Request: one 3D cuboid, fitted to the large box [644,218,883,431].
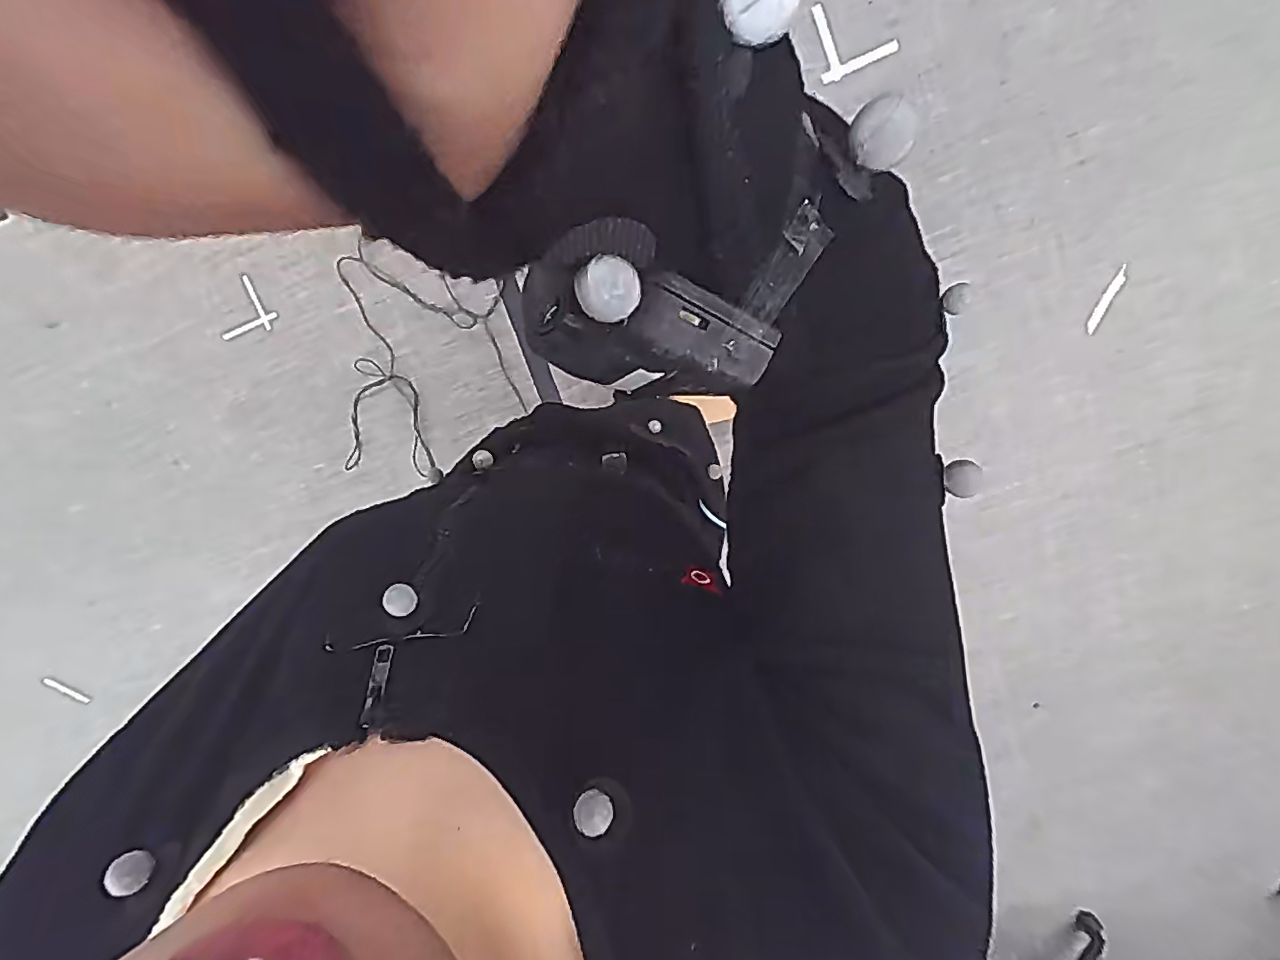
[{"bbox_3d":[0.237,-0.309,1.167,0.408,0.320,0.320,-13,99,3],"label":"large box"}]
